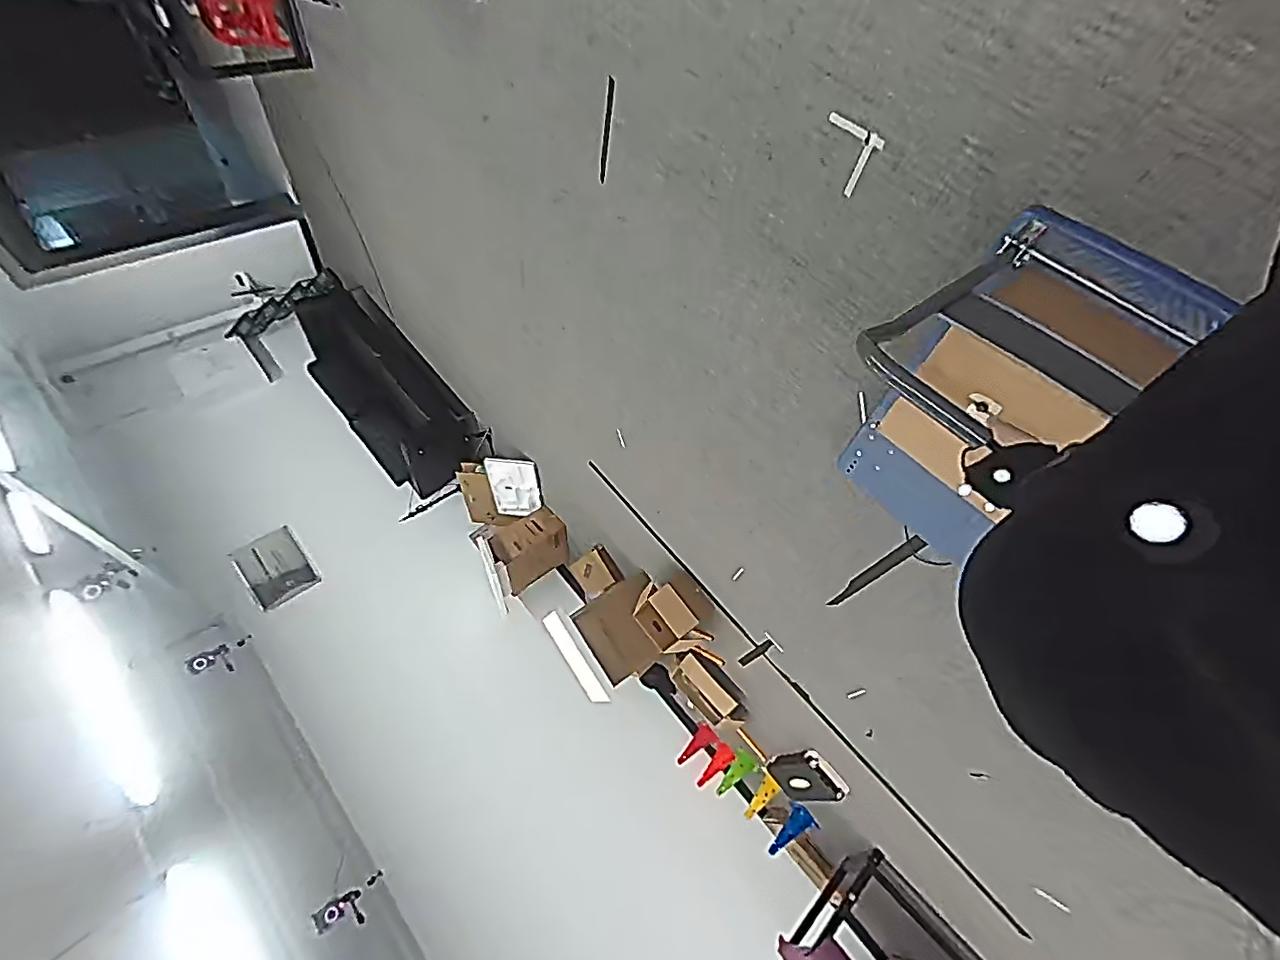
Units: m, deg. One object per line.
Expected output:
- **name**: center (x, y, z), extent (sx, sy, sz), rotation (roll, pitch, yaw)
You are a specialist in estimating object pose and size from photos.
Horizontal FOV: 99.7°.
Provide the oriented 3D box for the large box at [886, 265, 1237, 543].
- **large box**: center (0.810, -0.158, 1.087), extent (0.408, 0.320, 0.320), rotation (46, 150, 21)
